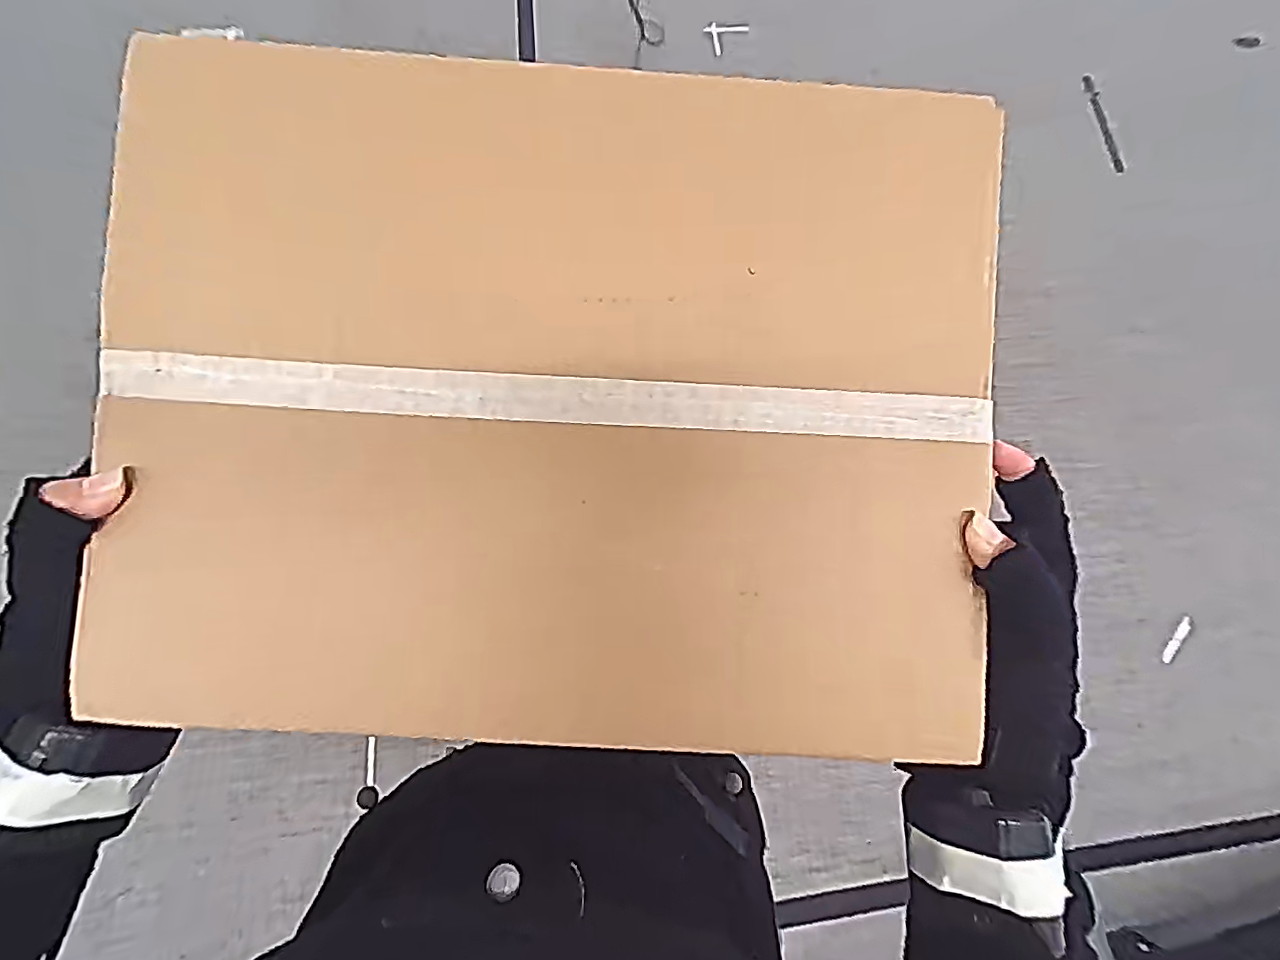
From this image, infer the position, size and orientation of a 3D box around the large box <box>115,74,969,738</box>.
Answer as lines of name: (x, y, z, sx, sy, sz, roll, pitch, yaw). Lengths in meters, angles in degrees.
large box: (-0.043, -0.033, 0.409, 0.408, 0.320, 0.320, 3, 88, -1)
